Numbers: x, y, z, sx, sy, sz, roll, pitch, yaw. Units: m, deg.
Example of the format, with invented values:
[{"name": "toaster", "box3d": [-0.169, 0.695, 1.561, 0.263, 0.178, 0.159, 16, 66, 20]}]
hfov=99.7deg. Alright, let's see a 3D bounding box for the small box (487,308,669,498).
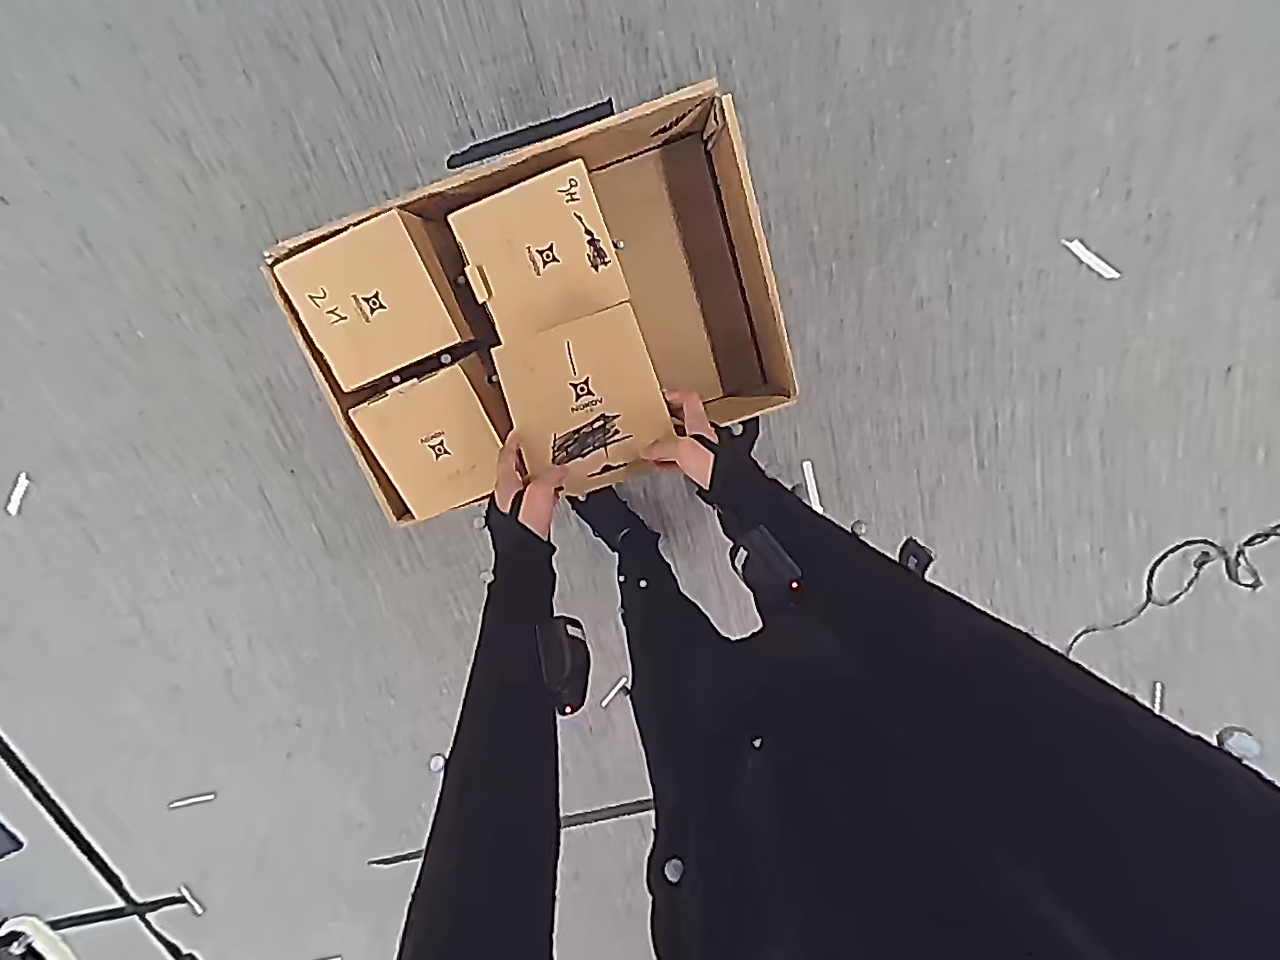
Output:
[{"name": "small box", "box3d": [-0.065, -0.083, 0.674, 0.168, 0.176, 0.179, -18, 87, 1]}]
